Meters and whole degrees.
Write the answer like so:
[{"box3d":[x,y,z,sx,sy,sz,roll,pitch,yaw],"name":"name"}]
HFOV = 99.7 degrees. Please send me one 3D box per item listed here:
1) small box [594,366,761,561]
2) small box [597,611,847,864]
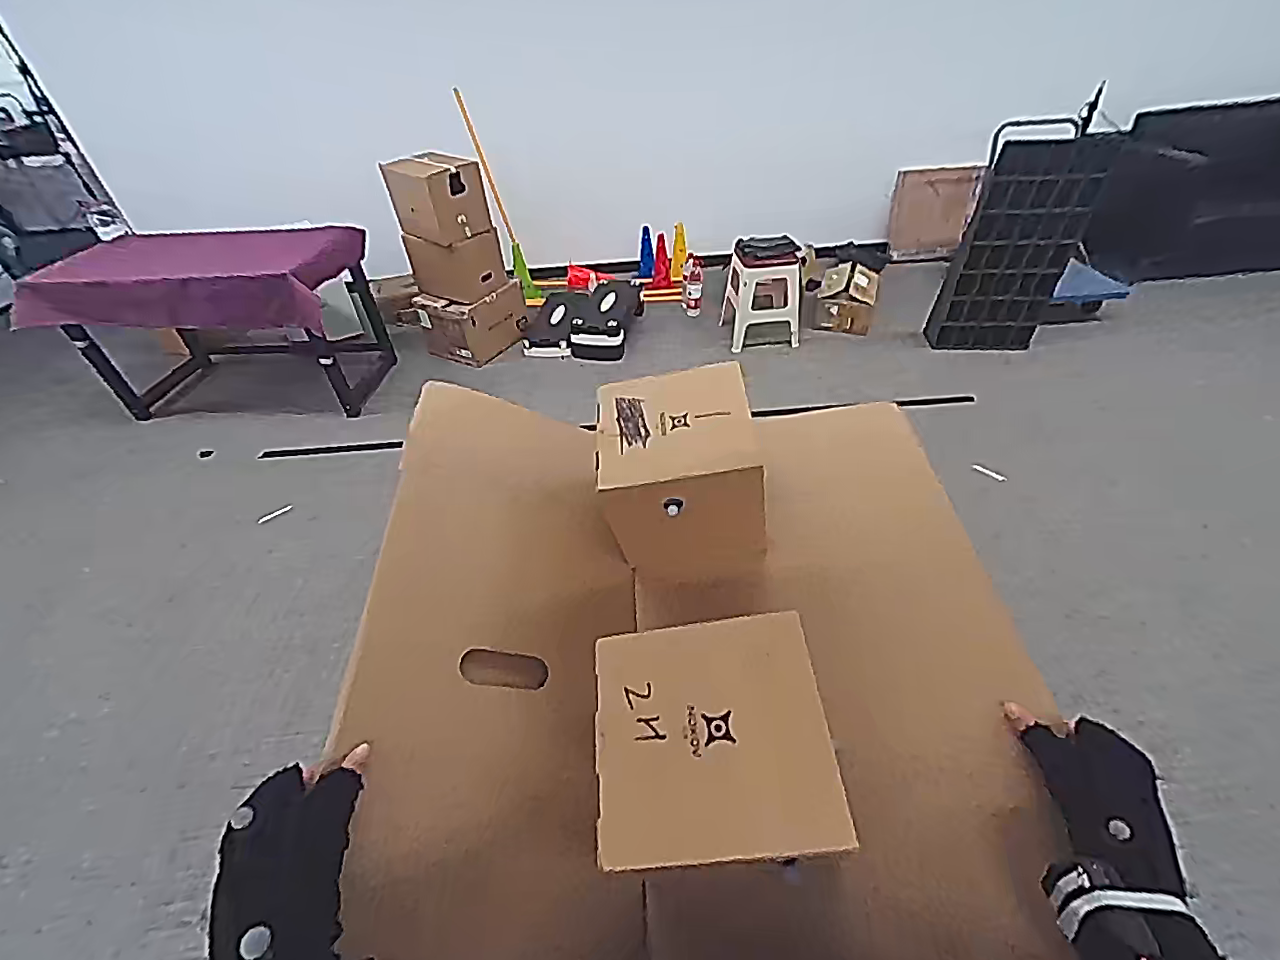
[{"box3d":[0.050,-0.013,0.678,0.179,0.176,0.168,-9,51,7],"name":"small box"},{"box3d":[0.068,0.235,0.482,0.179,0.176,0.168,-11,51,8],"name":"small box"}]
